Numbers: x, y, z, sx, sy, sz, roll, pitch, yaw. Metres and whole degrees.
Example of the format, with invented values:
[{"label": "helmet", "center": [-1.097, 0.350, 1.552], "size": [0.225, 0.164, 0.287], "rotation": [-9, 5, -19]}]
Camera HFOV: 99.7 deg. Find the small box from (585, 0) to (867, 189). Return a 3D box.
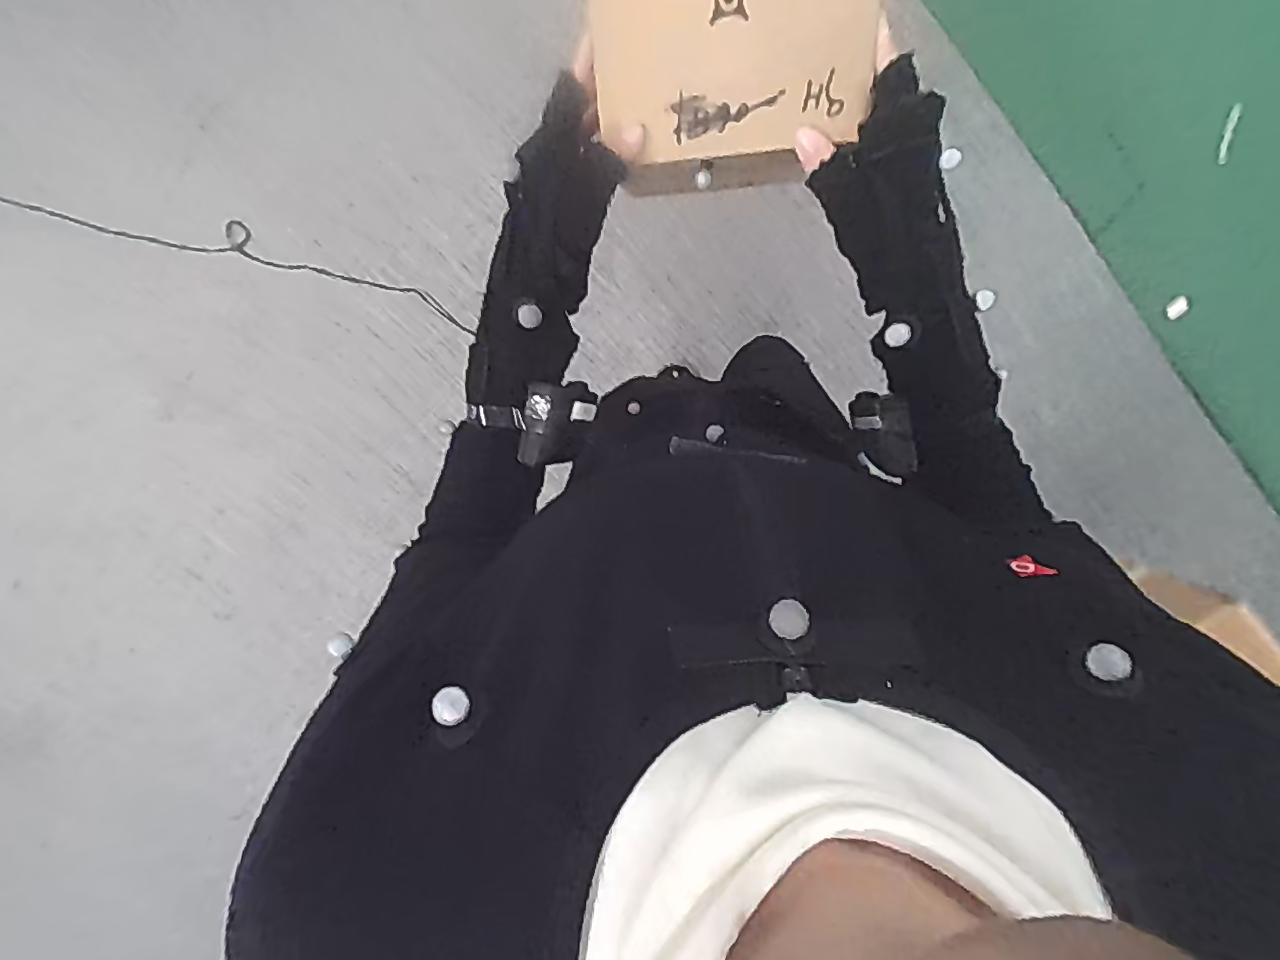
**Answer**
[{"label": "small box", "center": [0.054, -0.323, 0.383], "size": [0.168, 0.176, 0.179], "rotation": [-3, 111, 7]}]
